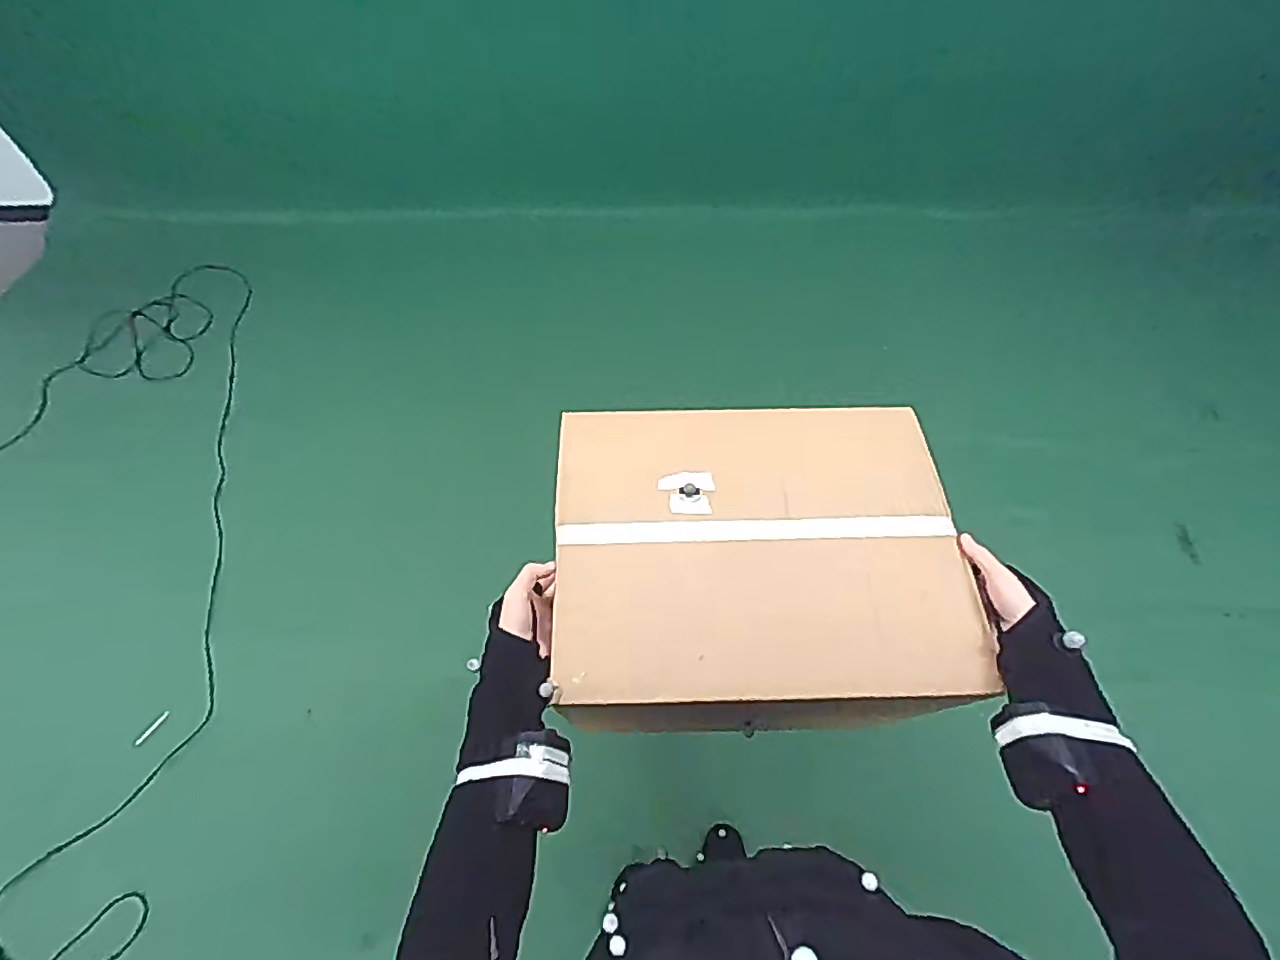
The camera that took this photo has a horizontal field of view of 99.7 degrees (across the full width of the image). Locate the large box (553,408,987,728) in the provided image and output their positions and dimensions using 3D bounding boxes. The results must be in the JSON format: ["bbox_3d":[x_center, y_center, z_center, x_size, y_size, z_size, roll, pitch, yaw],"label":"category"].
[{"bbox_3d":[0.117,0.130,0.688,0.408,0.320,0.320,-2,60,0],"label":"large box"}]
